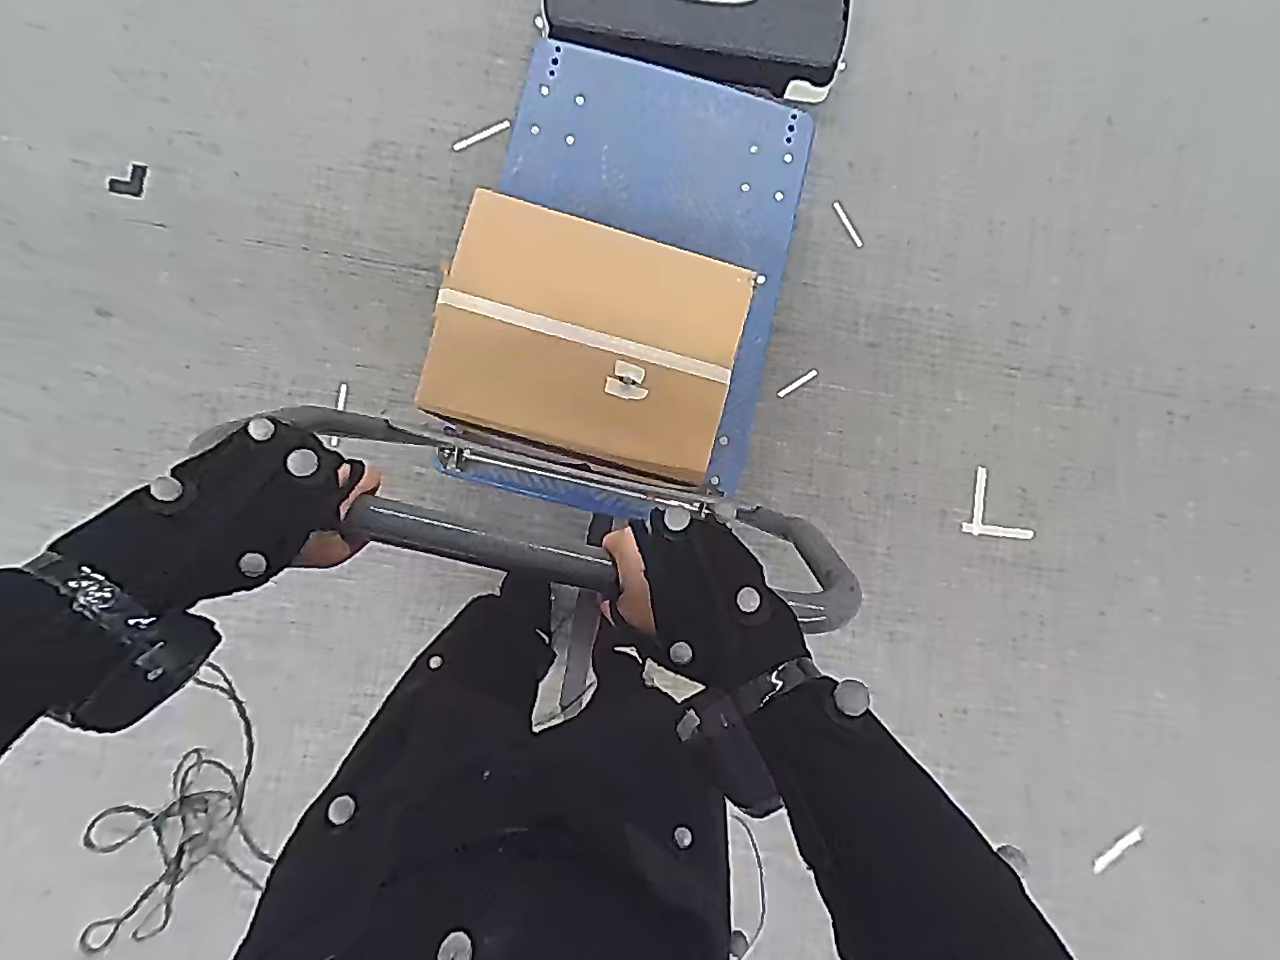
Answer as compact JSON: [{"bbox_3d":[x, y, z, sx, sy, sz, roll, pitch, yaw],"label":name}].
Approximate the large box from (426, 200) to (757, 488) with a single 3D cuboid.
[{"bbox_3d":[-0.076,-0.184,0.892,0.408,0.320,0.320,16,88,-4],"label":"large box"}]
